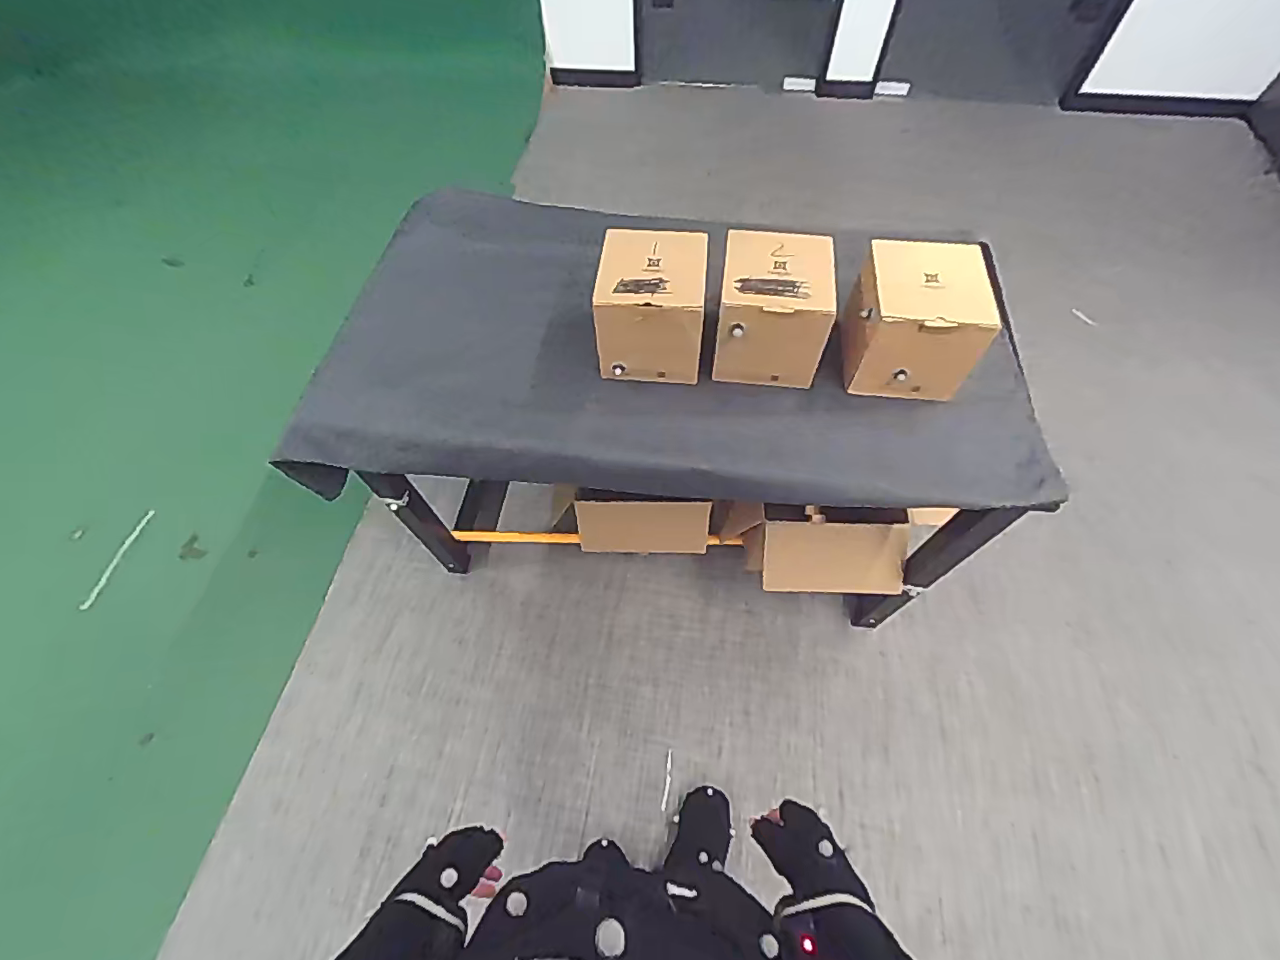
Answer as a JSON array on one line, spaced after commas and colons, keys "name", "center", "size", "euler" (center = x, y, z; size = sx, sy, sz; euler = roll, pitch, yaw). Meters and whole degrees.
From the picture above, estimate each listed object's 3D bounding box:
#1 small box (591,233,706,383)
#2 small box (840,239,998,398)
[{"name": "small box", "center": [0.020, -0.280, 0.897], "size": [0.168, 0.176, 0.179], "euler": [4, 60, 4]}, {"name": "small box", "center": [0.430, -0.256, 0.868], "size": [0.168, 0.176, 0.179], "euler": [4, 60, 5]}]
